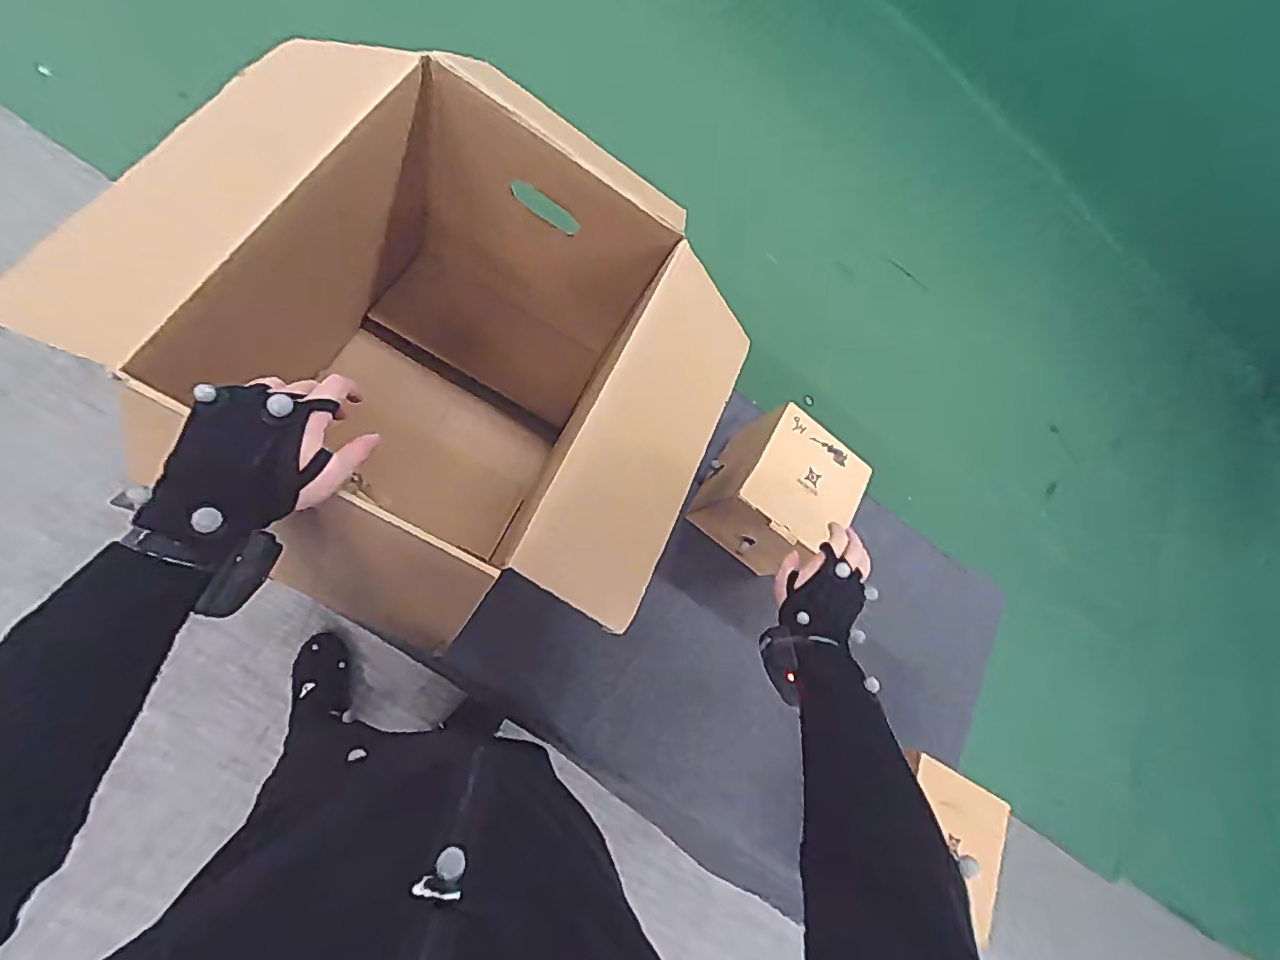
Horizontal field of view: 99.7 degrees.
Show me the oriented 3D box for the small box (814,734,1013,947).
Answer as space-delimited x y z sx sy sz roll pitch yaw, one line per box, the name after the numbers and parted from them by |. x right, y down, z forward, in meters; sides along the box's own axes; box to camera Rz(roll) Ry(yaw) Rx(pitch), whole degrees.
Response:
0.376 0.489 0.764 0.168 0.176 0.179 33 66 -10 | small box
